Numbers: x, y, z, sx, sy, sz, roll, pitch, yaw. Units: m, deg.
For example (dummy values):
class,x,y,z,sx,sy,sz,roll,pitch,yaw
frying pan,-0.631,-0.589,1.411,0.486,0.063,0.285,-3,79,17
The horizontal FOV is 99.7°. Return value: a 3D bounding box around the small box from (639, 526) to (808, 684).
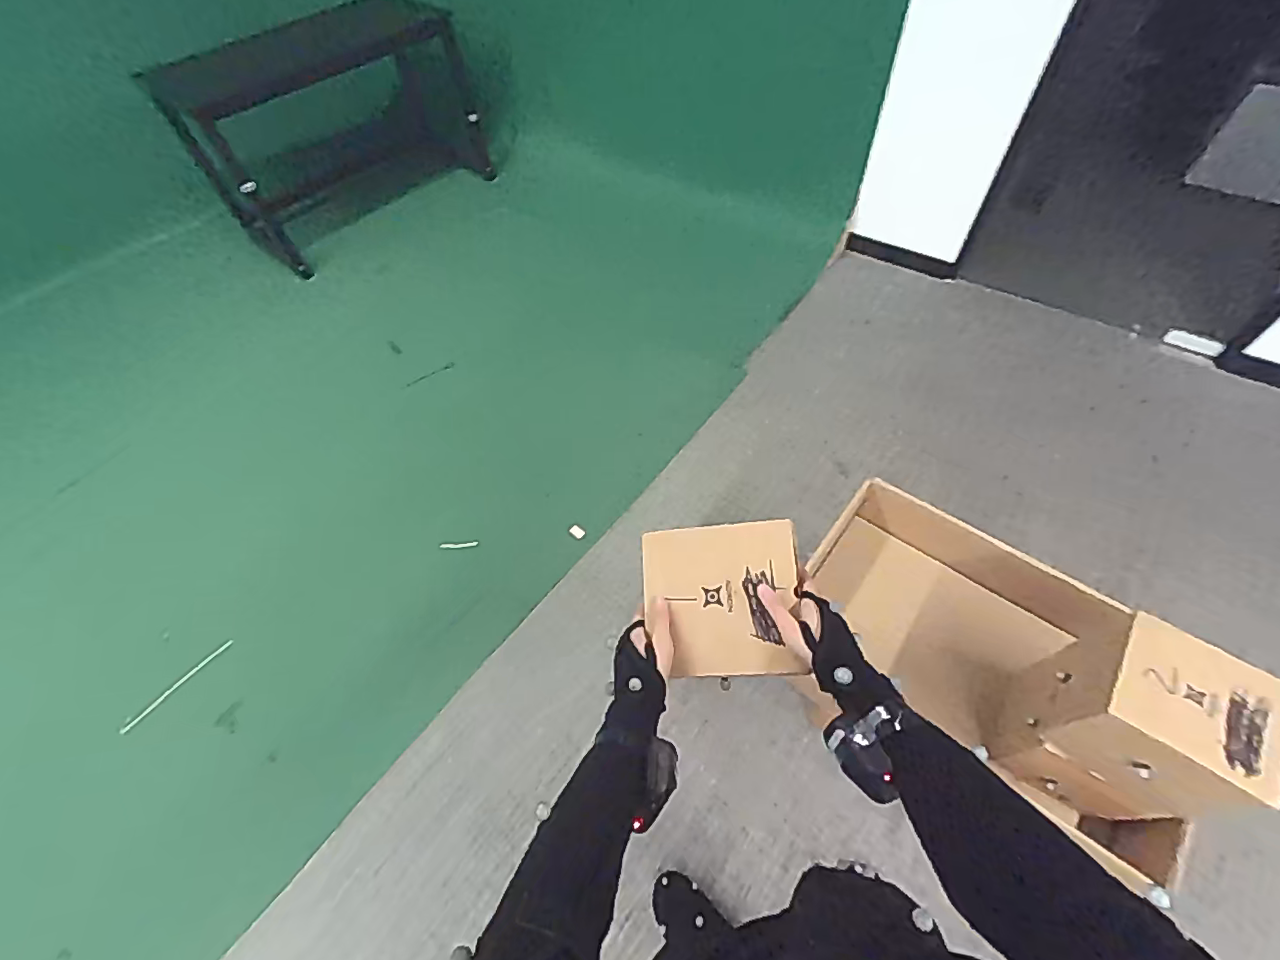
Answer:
class,x,y,z,sx,sy,sz,roll,pitch,yaw
small box,0.103,0.161,0.667,0.179,0.176,0.168,-7,69,13
